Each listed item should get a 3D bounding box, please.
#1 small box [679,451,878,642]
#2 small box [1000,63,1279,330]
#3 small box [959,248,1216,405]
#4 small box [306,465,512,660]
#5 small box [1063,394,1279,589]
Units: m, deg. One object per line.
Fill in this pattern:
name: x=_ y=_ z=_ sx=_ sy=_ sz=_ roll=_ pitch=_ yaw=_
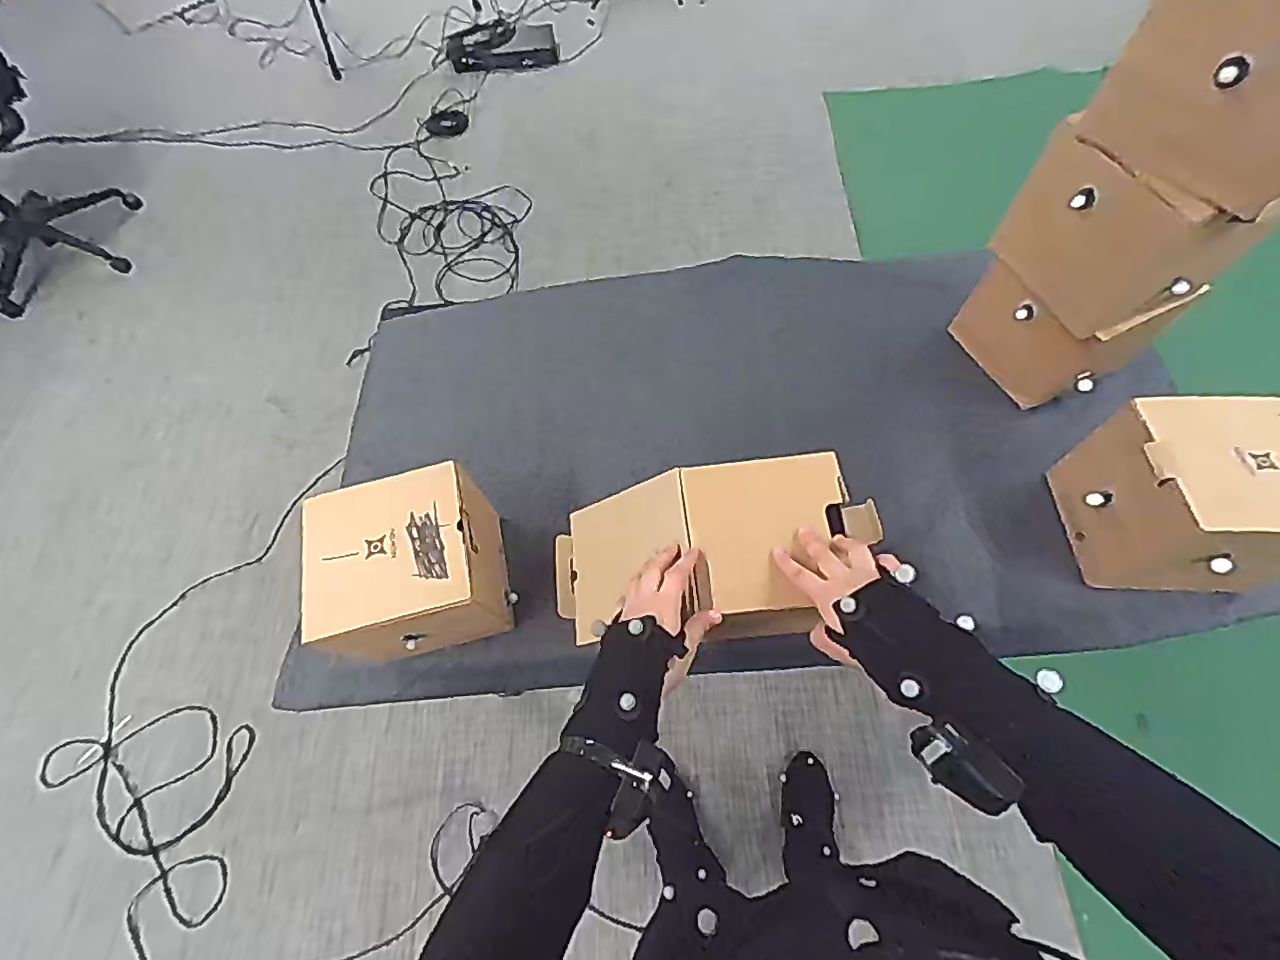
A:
small box: x=0.143 y=0.085 z=0.627 sx=0.179 sy=0.176 sz=0.168 roll=-7 pitch=65 yaw=1
small box: x=0.551 y=-0.302 z=0.596 sx=0.168 sy=0.176 sz=0.179 roll=-22 pitch=65 yaw=-2
small box: x=0.588 y=-0.236 z=0.744 sx=0.168 sy=0.176 sz=0.179 roll=-26 pitch=67 yaw=-5
small box: x=-0.262 y=0.106 z=0.646 sx=0.179 sy=0.176 sz=0.168 roll=-15 pitch=65 yaw=-2
small box: x=0.630 y=0.019 z=0.615 sx=0.179 sy=0.176 sz=0.168 roll=0 pitch=61 yaw=6
